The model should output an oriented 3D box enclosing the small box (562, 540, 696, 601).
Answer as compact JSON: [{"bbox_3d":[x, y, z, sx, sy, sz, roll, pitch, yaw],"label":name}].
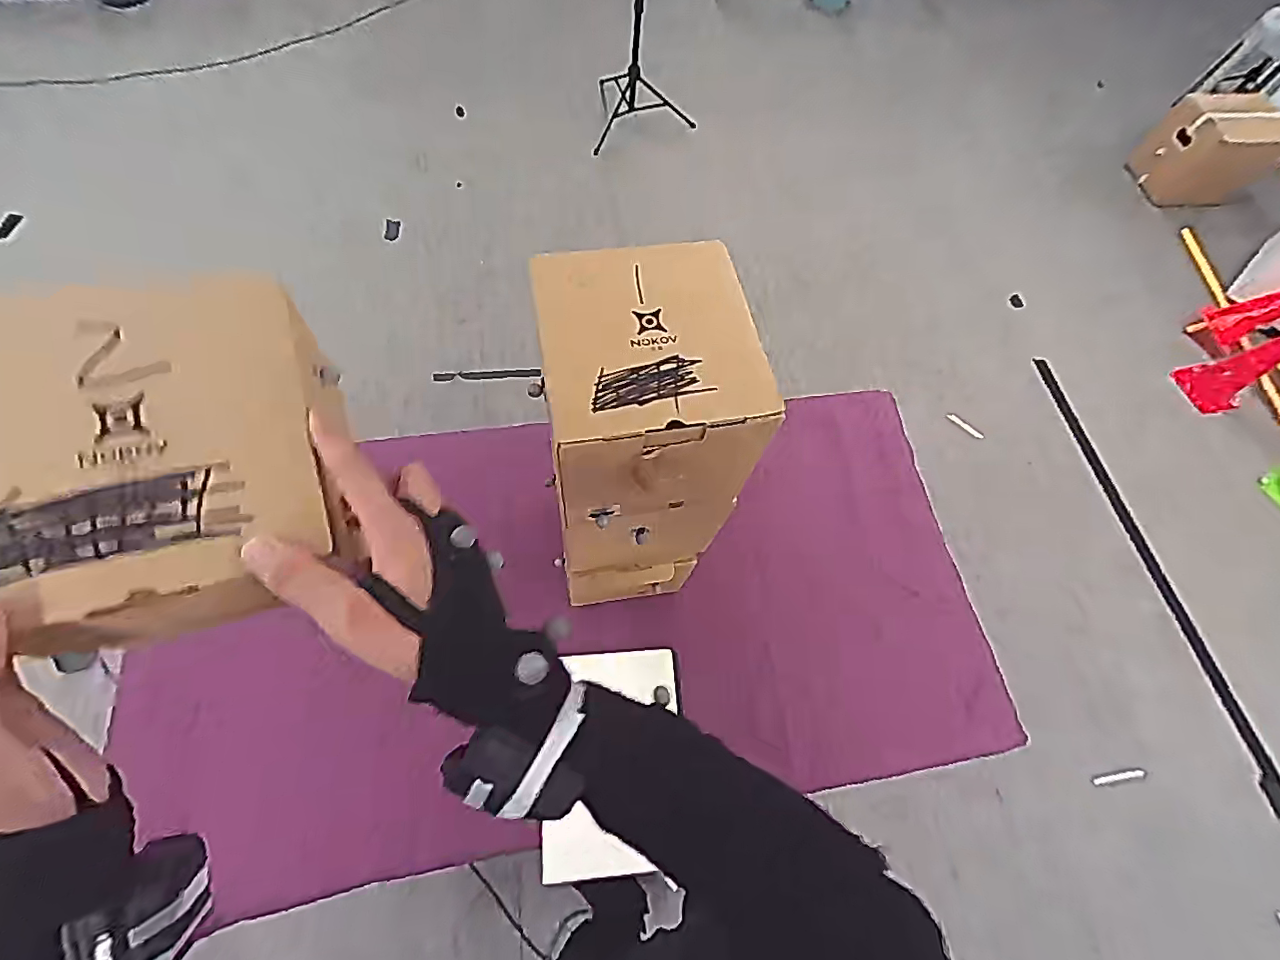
[{"bbox_3d":[-0.026,0.067,0.765,0.168,0.176,0.179,-6,66,-8],"label":"small box"}]

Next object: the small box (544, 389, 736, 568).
[{"bbox_3d":[-0.009,-0.006,0.618,0.179,0.176,0.168,-7,67,-9],"label":"small box"}]

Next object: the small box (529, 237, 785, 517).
[{"bbox_3d":[0.002,-0.077,0.470,0.168,0.176,0.179,-8,65,-9],"label":"small box"}]
